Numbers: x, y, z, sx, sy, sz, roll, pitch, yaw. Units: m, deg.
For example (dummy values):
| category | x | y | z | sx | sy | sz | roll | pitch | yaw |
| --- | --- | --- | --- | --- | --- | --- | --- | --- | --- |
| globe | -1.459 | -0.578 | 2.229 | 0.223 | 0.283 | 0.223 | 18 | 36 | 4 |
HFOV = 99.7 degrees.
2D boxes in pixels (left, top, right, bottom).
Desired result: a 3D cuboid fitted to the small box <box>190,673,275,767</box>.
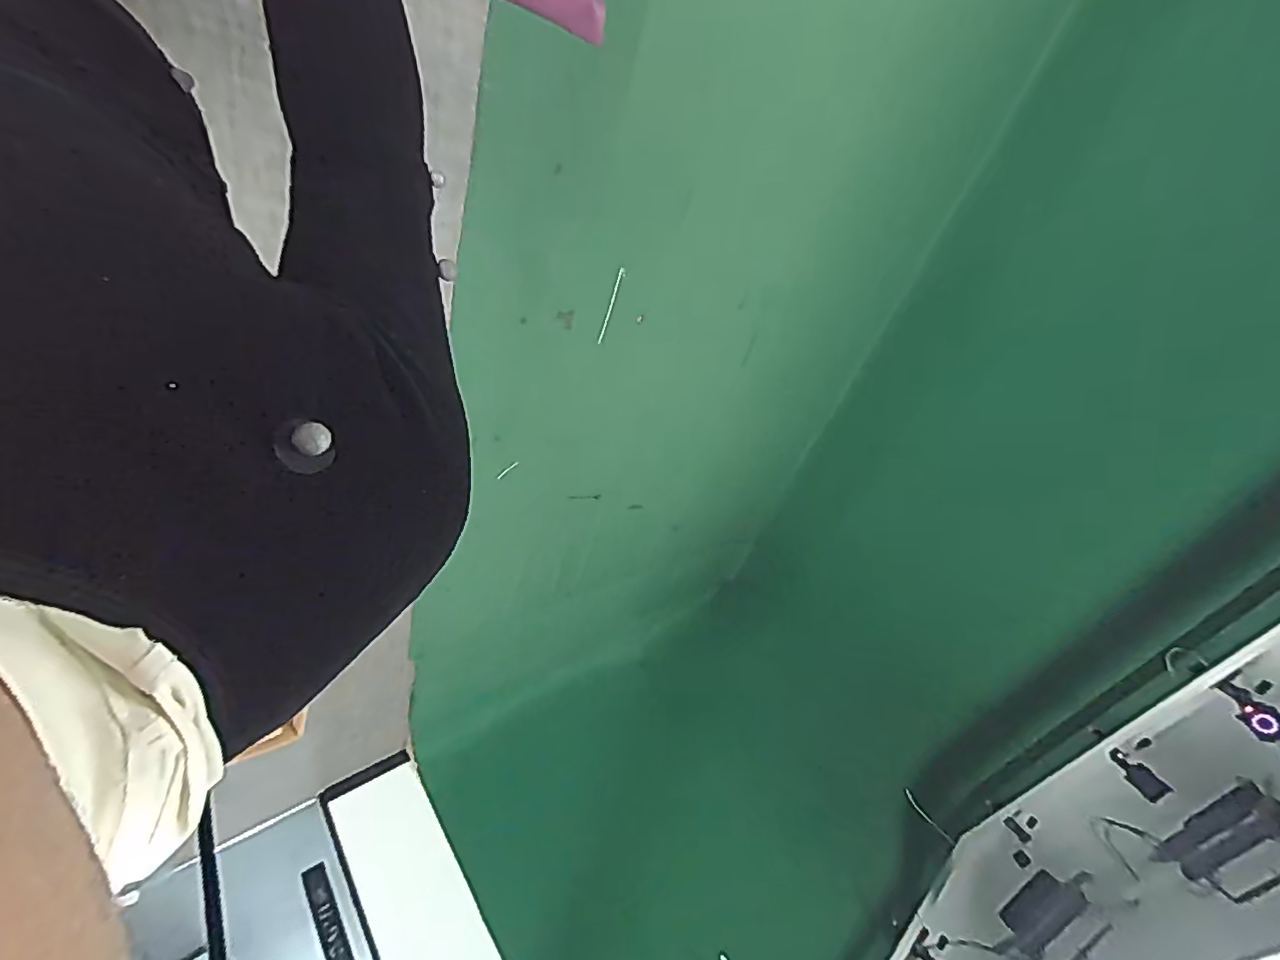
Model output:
| category | x | y | z | sx | sy | sz | roll | pitch | yaw |
| --- | --- | --- | --- | --- | --- | --- | --- | --- | --- |
| small box | -1.244 | 0.723 | 1.649 | 0.179 | 0.176 | 0.168 | -10 | 135 | -45 |
